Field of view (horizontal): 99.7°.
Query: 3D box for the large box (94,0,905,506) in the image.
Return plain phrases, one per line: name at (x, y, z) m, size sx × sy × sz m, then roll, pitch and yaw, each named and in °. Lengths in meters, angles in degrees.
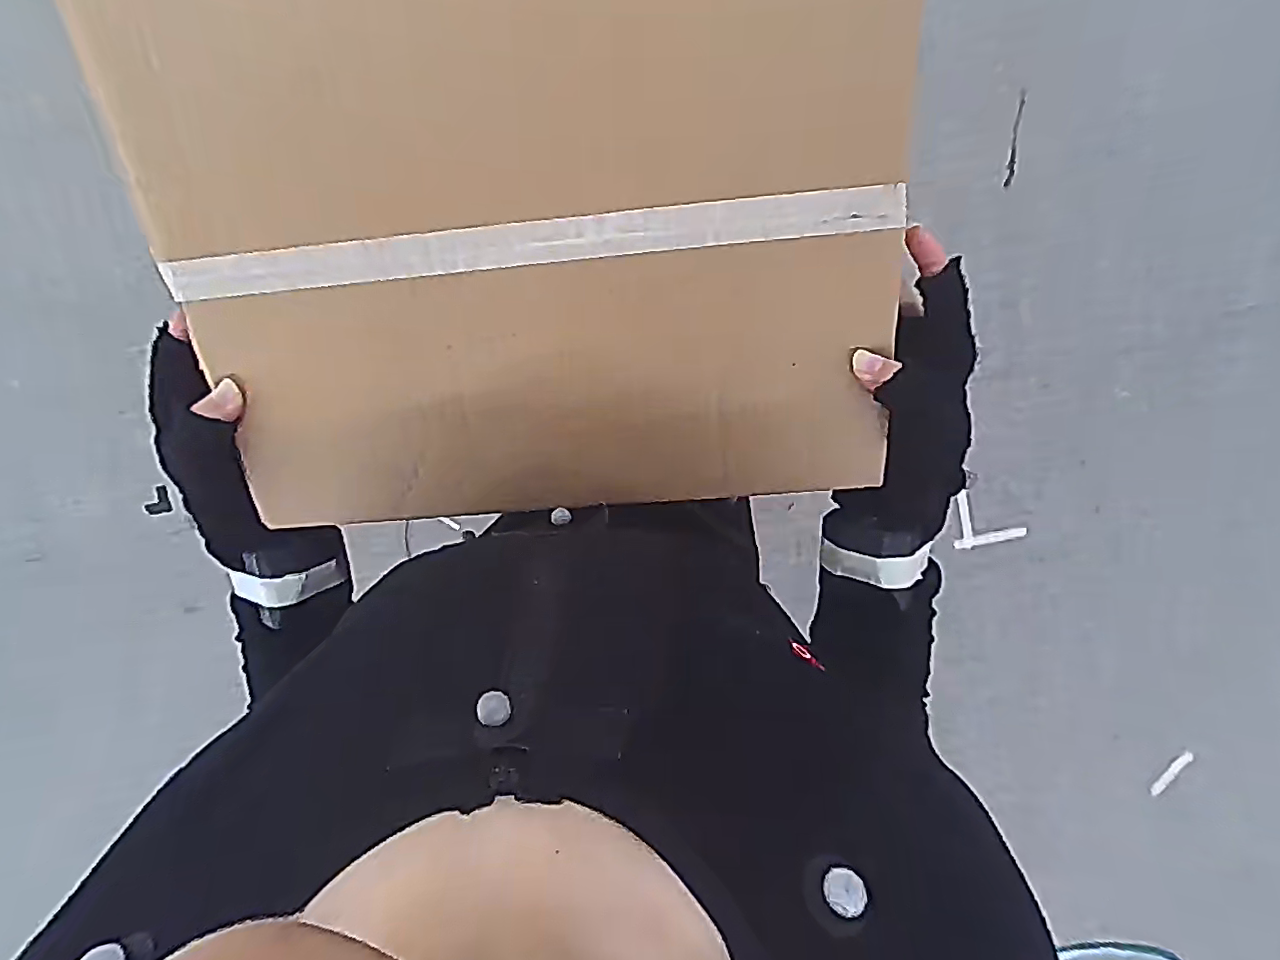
large box at (-0.059, -0.195, 0.439) m, size 0.408 × 0.320 × 0.320 m, roll -5°, pitch 112°, yaw 3°
